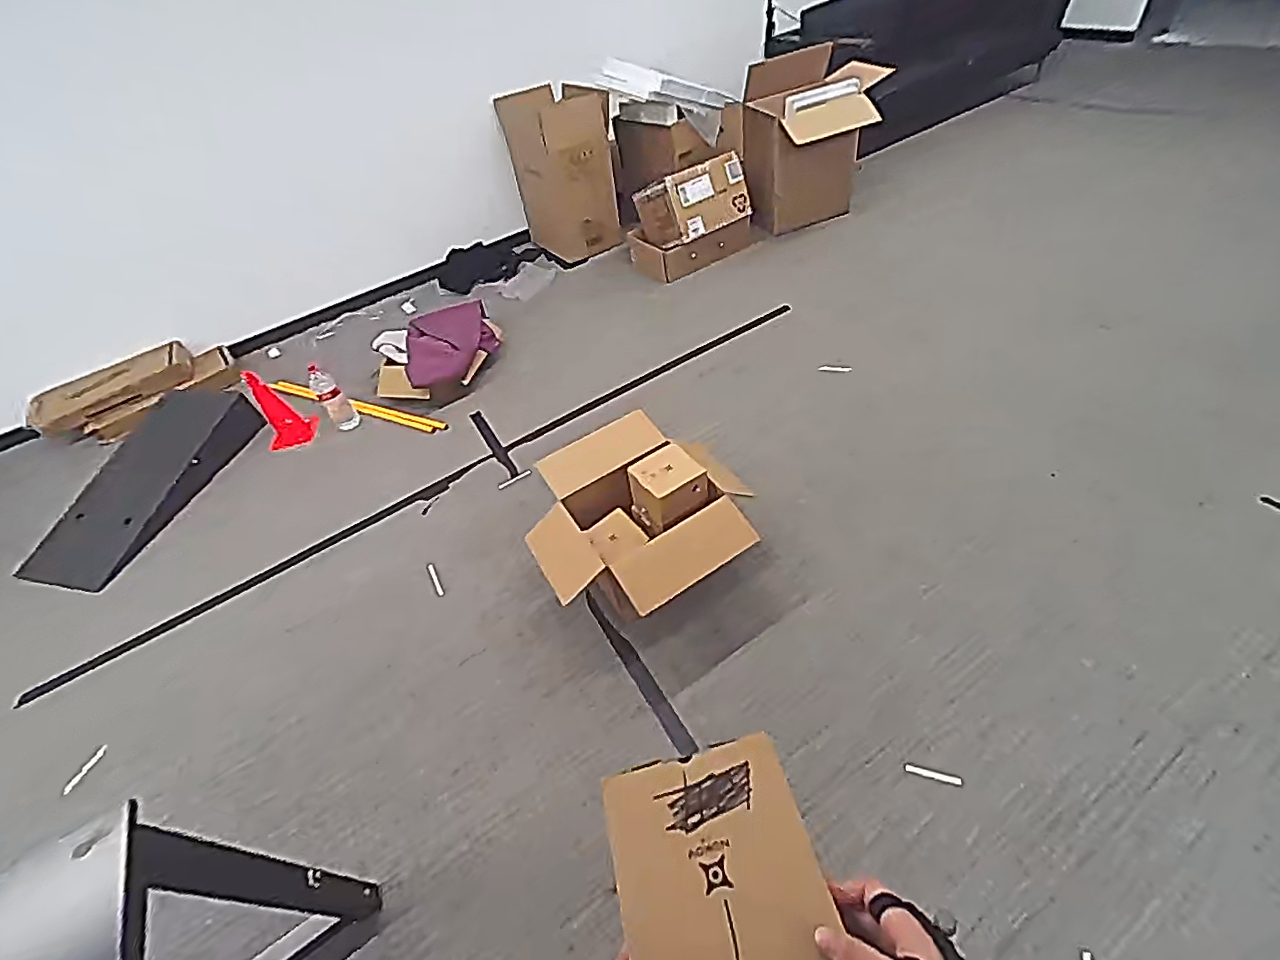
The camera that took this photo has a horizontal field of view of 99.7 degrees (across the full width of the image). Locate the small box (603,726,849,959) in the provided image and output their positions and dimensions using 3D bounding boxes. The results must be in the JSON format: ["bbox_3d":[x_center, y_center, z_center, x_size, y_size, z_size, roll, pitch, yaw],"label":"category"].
[{"bbox_3d":[0.068,0.369,0.513,0.168,0.176,0.179,-14,46,-4],"label":"small box"}]

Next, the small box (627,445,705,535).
[{"bbox_3d":[0.081,0.031,1.636,0.179,0.176,0.168,-31,49,-18],"label":"small box"}]
